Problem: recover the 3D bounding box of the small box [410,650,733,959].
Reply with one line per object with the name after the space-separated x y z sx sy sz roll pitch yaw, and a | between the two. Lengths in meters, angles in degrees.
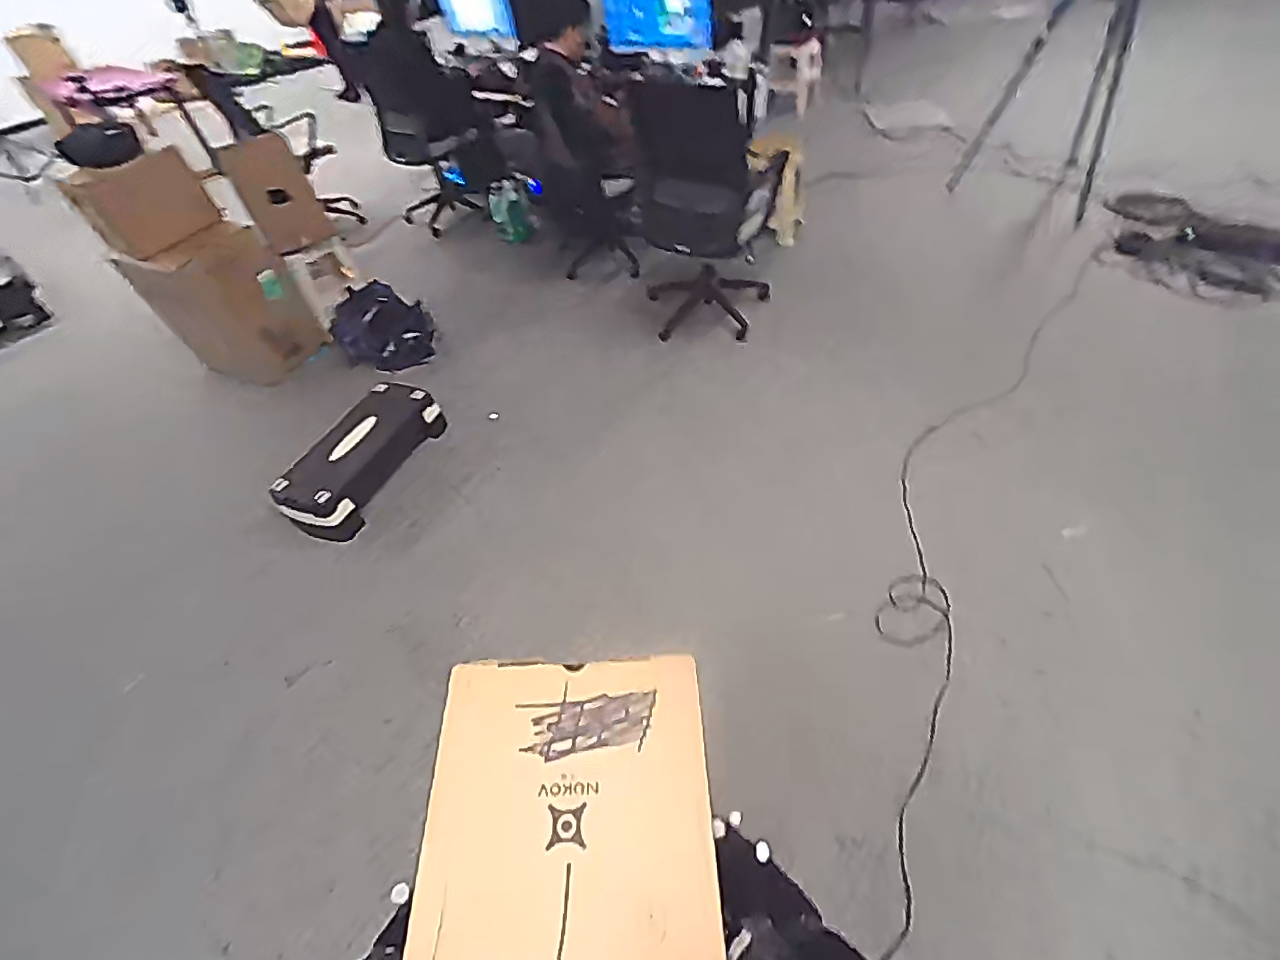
-0.035 0.233 0.377 0.168 0.176 0.179 -2 54 0 | small box
